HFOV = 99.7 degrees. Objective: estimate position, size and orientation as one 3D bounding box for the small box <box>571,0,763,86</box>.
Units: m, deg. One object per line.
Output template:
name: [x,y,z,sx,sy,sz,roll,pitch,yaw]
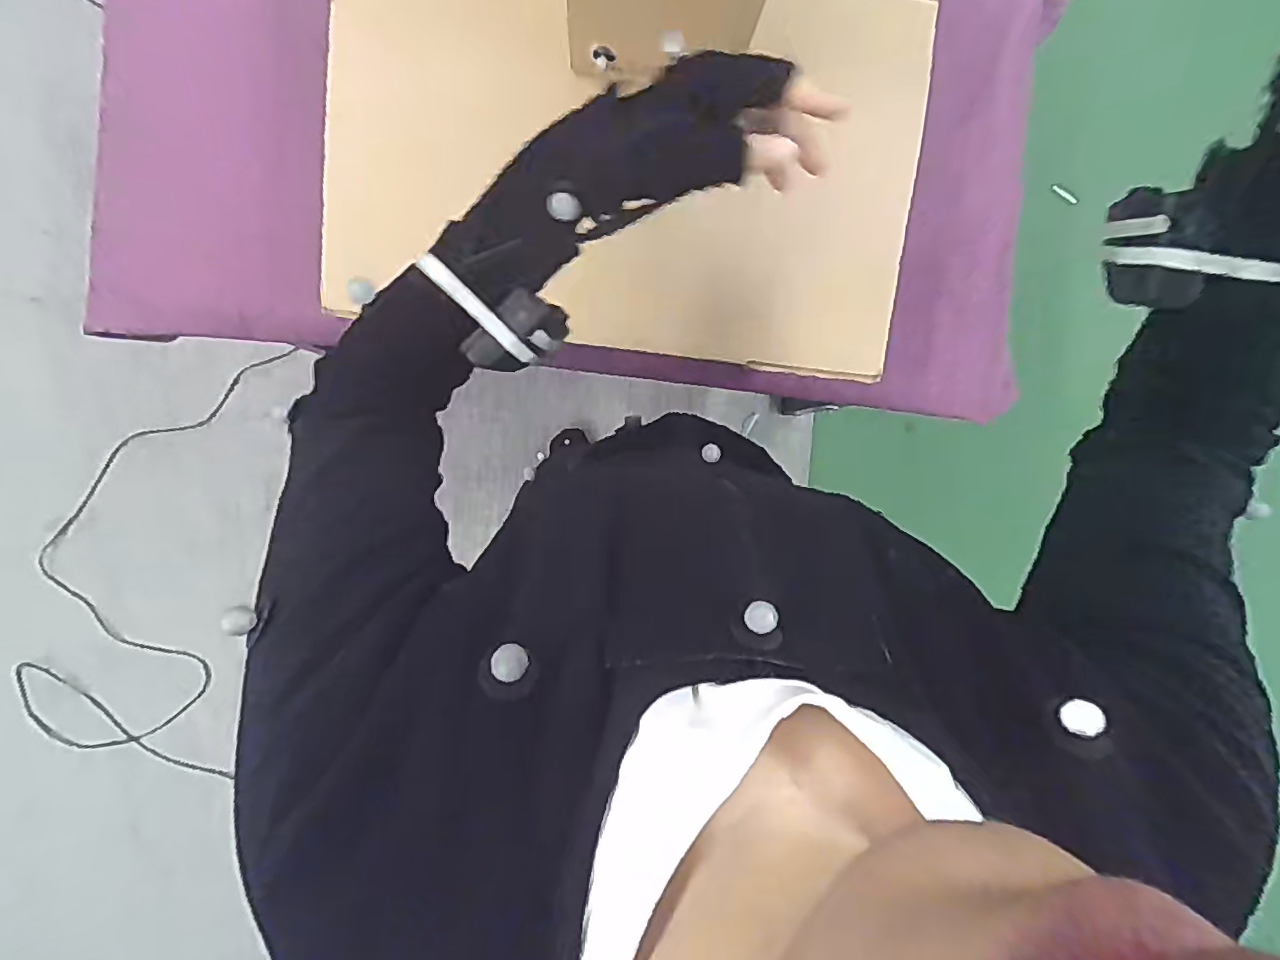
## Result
small box: [0.027,-0.482,0.461,0.168,0.176,0.179,3,93,-5]
